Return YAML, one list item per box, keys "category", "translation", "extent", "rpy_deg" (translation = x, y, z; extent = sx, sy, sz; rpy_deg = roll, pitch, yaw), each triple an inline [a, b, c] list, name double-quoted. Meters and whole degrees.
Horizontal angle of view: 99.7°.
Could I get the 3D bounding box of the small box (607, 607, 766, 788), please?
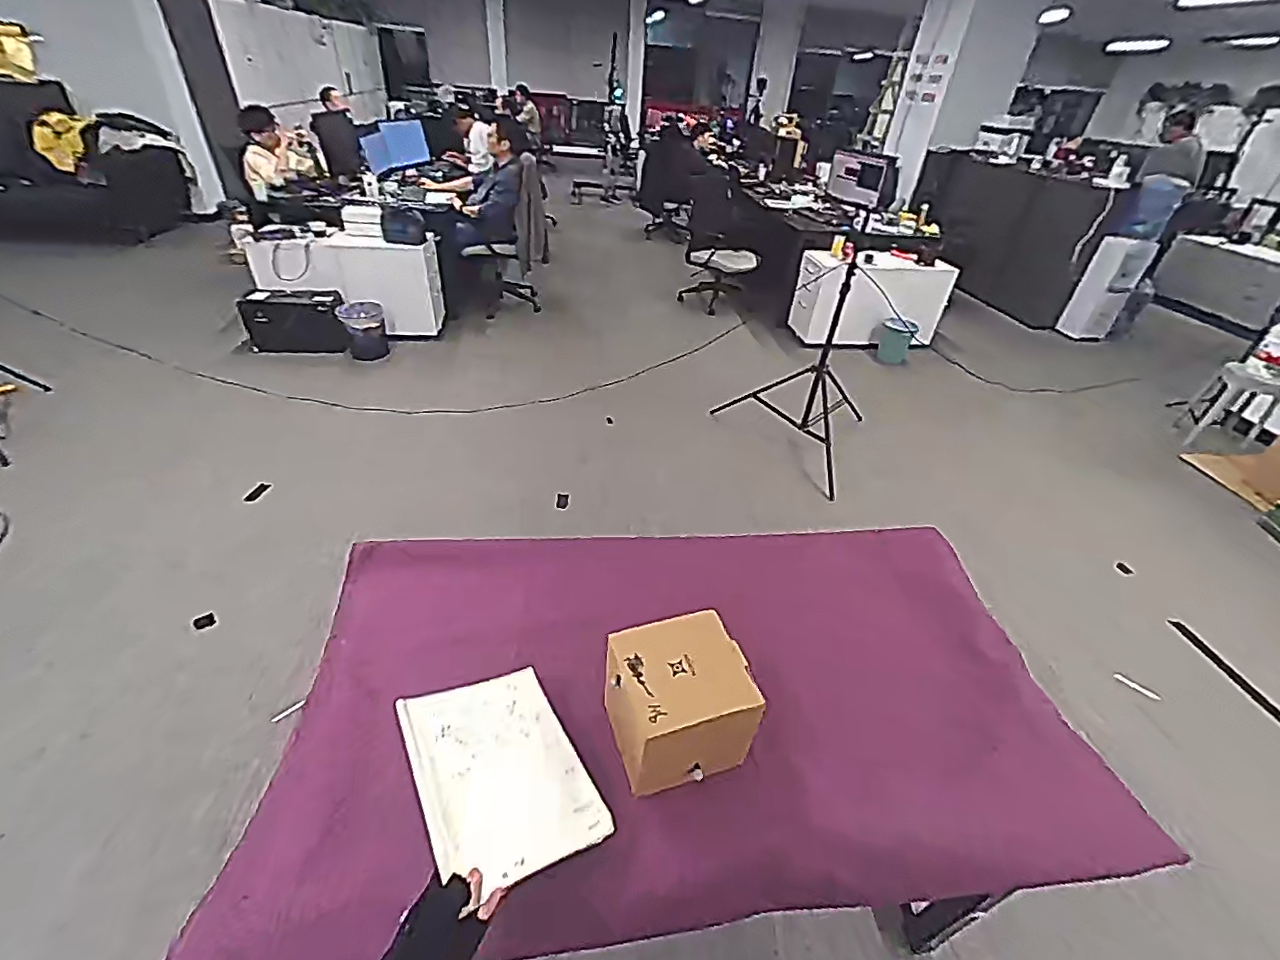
- category: "small box"
  translation: [0.057, 0.318, 0.800]
  extent: [0.179, 0.176, 0.168]
  rpy_deg: [-8, 38, -17]
